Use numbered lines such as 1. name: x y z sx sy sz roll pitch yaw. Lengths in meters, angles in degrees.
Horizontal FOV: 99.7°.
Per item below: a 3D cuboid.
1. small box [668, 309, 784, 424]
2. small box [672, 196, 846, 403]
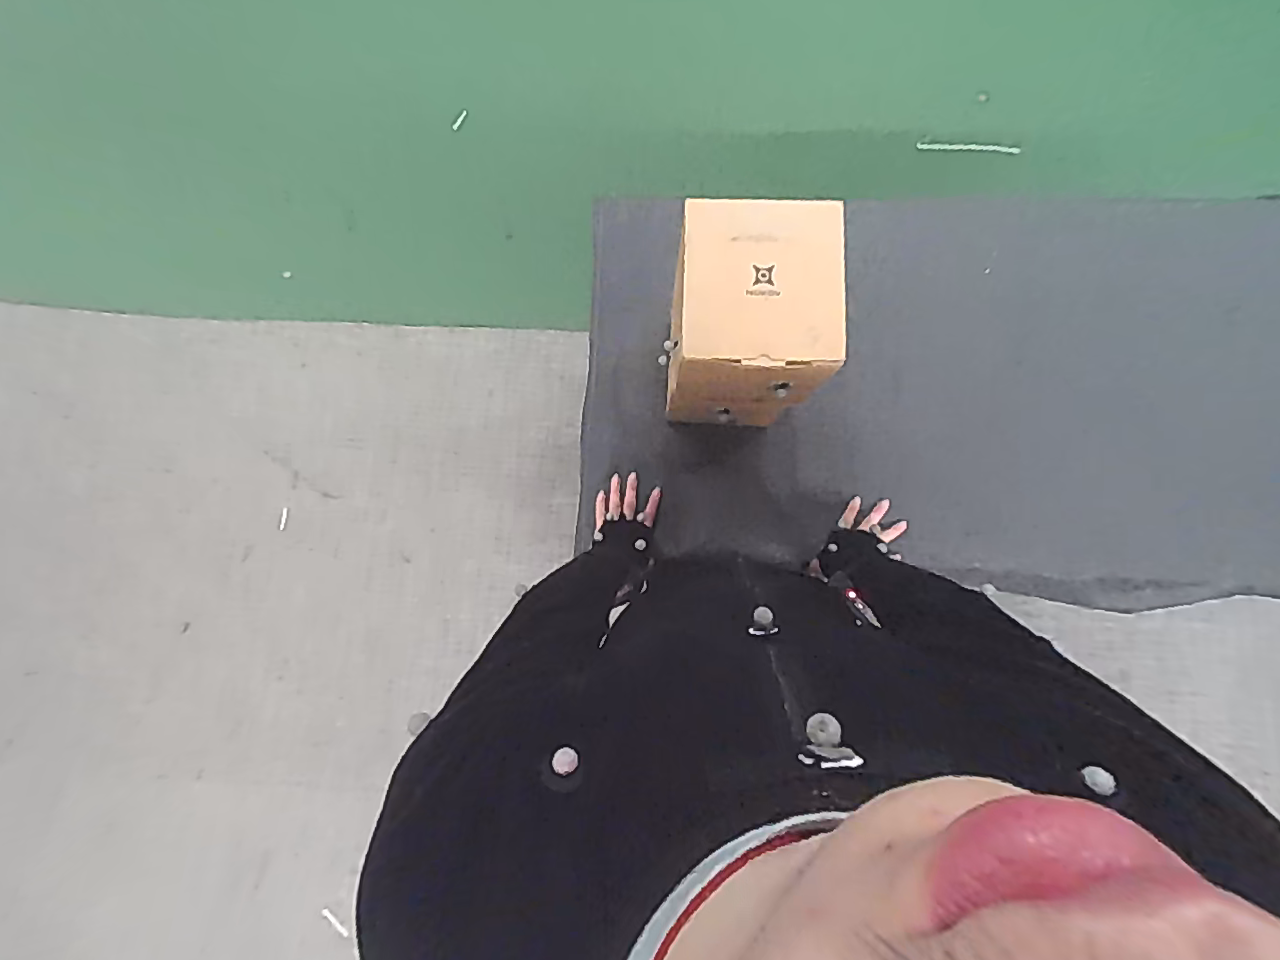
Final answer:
1. small box: 0.128 -0.185 0.785 0.168 0.176 0.179 3 82 1
2. small box: 0.125 -0.194 0.622 0.168 0.176 0.179 1 81 0
